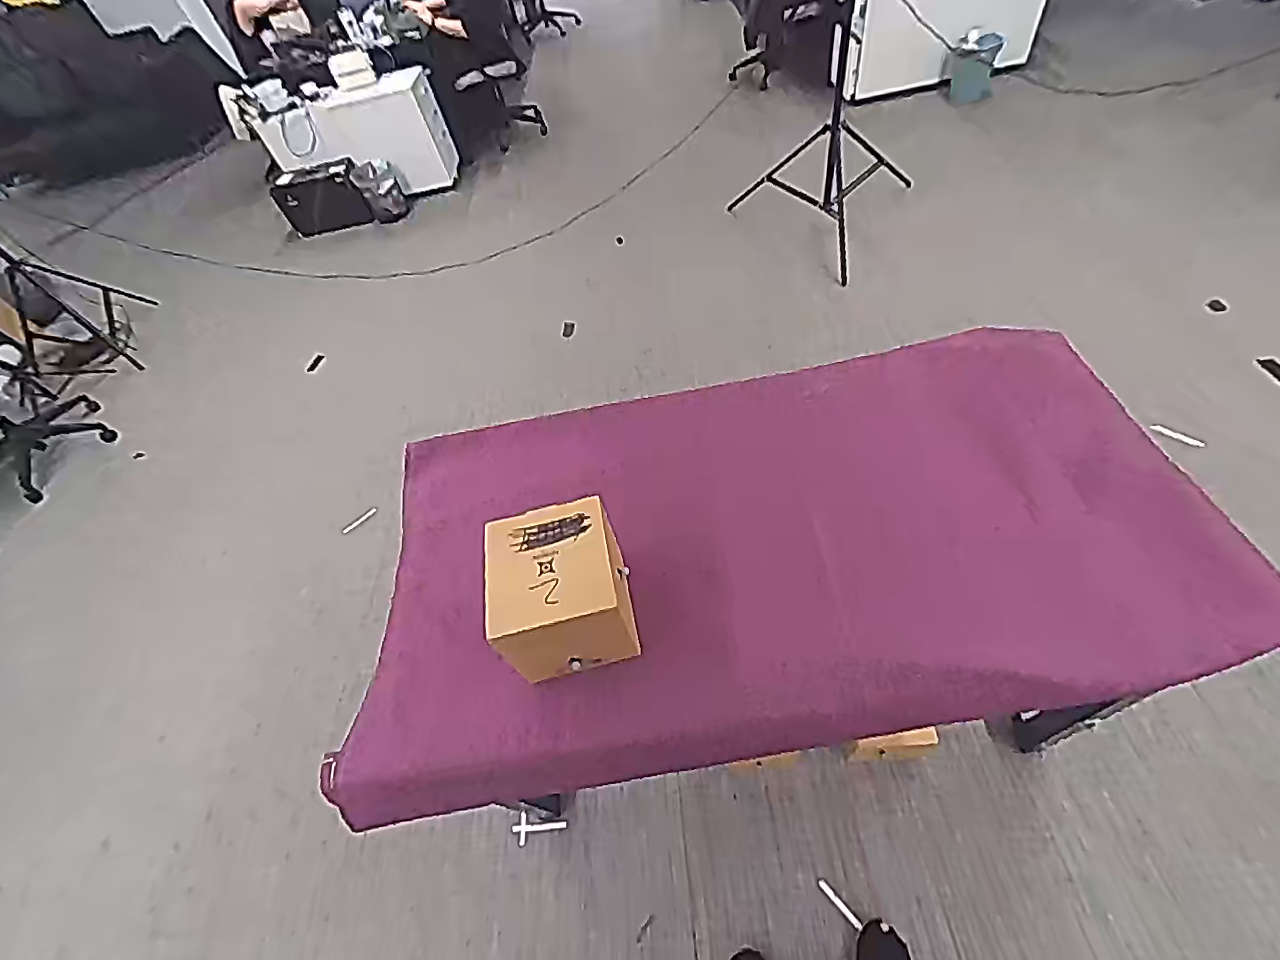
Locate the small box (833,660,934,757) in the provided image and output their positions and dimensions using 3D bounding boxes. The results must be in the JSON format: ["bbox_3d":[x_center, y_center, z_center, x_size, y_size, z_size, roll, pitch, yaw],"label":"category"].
[{"bbox_3d":[0.558,0.539,1.263,0.168,0.176,0.179,-6,52,7],"label":"small box"}]

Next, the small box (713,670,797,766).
[{"bbox_3d":[0.272,0.575,1.293,0.168,0.176,0.179,-8,52,5],"label":"small box"}]
